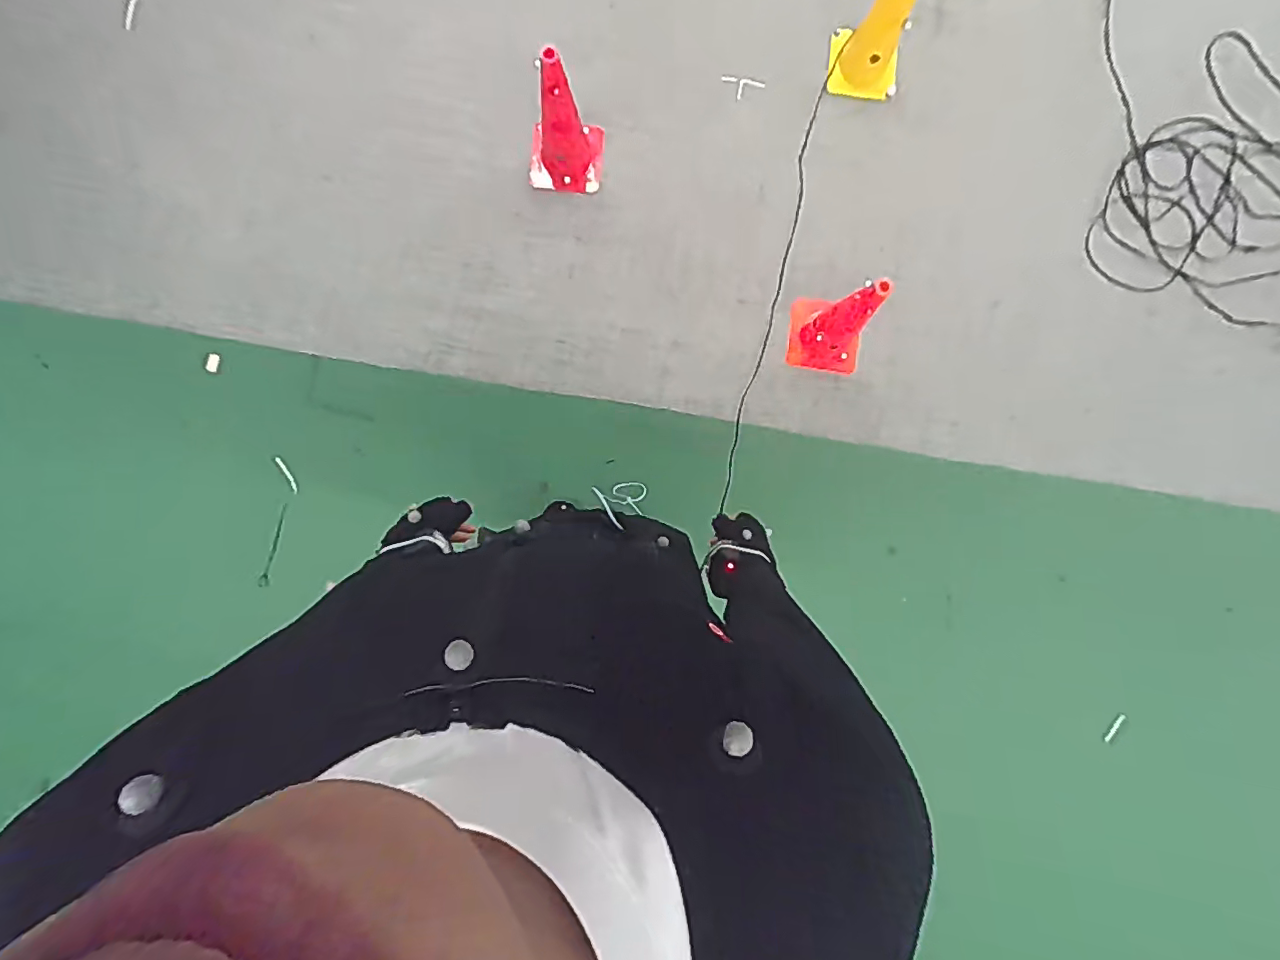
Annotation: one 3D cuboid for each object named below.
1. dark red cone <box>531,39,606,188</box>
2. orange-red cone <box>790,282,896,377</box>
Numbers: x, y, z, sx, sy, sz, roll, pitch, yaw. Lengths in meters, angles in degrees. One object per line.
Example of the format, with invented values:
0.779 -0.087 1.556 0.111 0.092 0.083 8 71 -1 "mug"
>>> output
-0.194 -0.924 1.350 0.202 0.394 0.201 4 88 -1 "dark red cone"
0.538 -0.413 1.367 0.198 0.360 0.199 10 86 -2 "orange-red cone"
